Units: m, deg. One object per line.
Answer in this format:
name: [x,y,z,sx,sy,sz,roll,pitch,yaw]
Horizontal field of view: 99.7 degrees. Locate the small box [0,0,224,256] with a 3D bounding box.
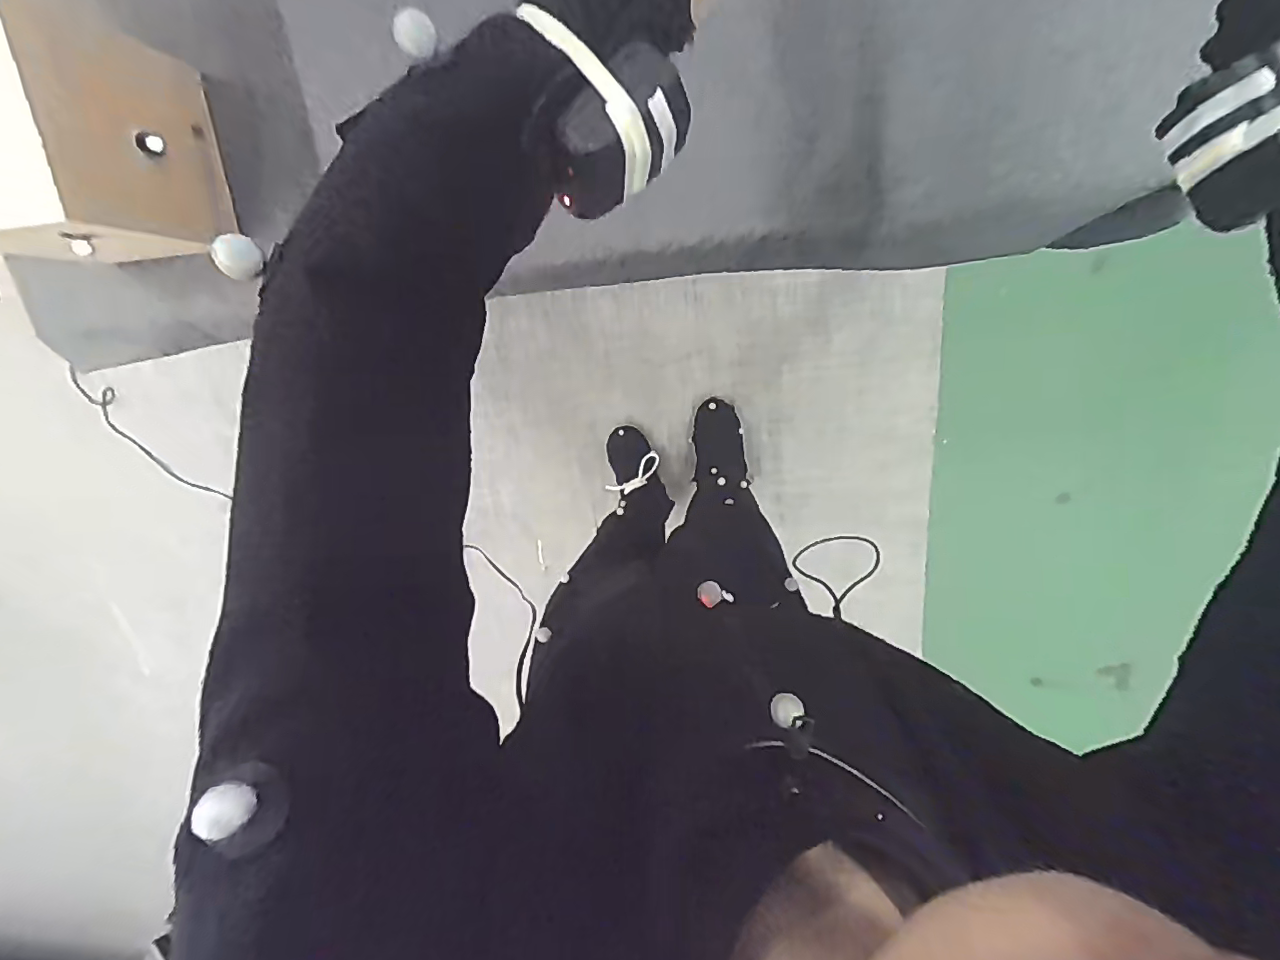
small box: [-0.524,-0.304,0.488,0.179,0.176,0.168,-1,106,9]
